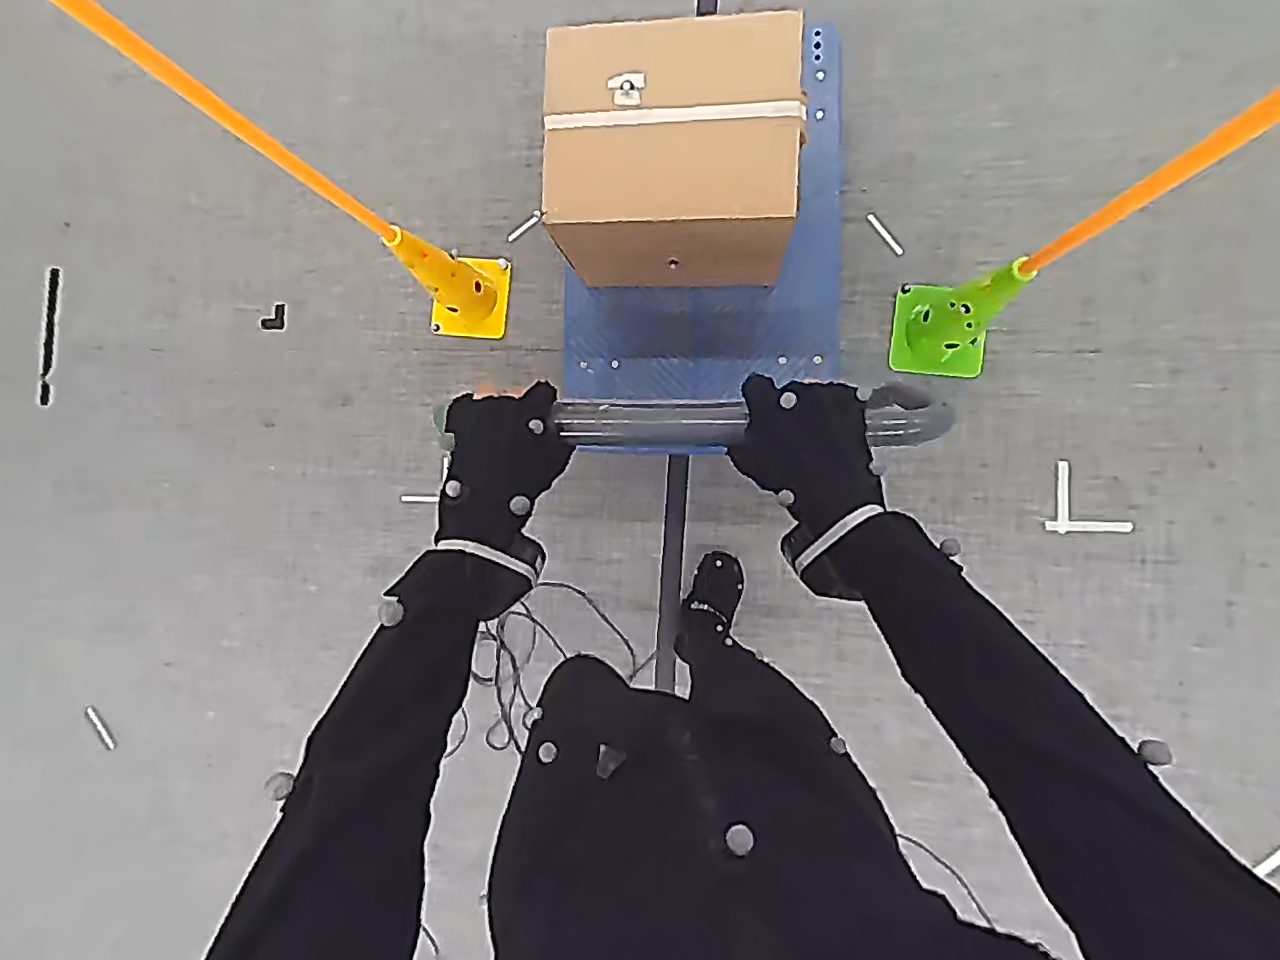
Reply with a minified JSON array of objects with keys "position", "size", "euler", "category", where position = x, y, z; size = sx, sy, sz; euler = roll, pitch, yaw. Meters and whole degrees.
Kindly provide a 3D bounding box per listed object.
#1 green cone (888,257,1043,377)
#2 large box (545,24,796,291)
[{"position":[0.657,-0.342,1.065],"size":[0.202,0.368,0.200],"euler":[7,91,7],"category":"green cone"},{"position":[0.065,-0.555,1.006],"size":[0.408,0.320,0.320],"euler":[2,91,9],"category":"large box"}]
